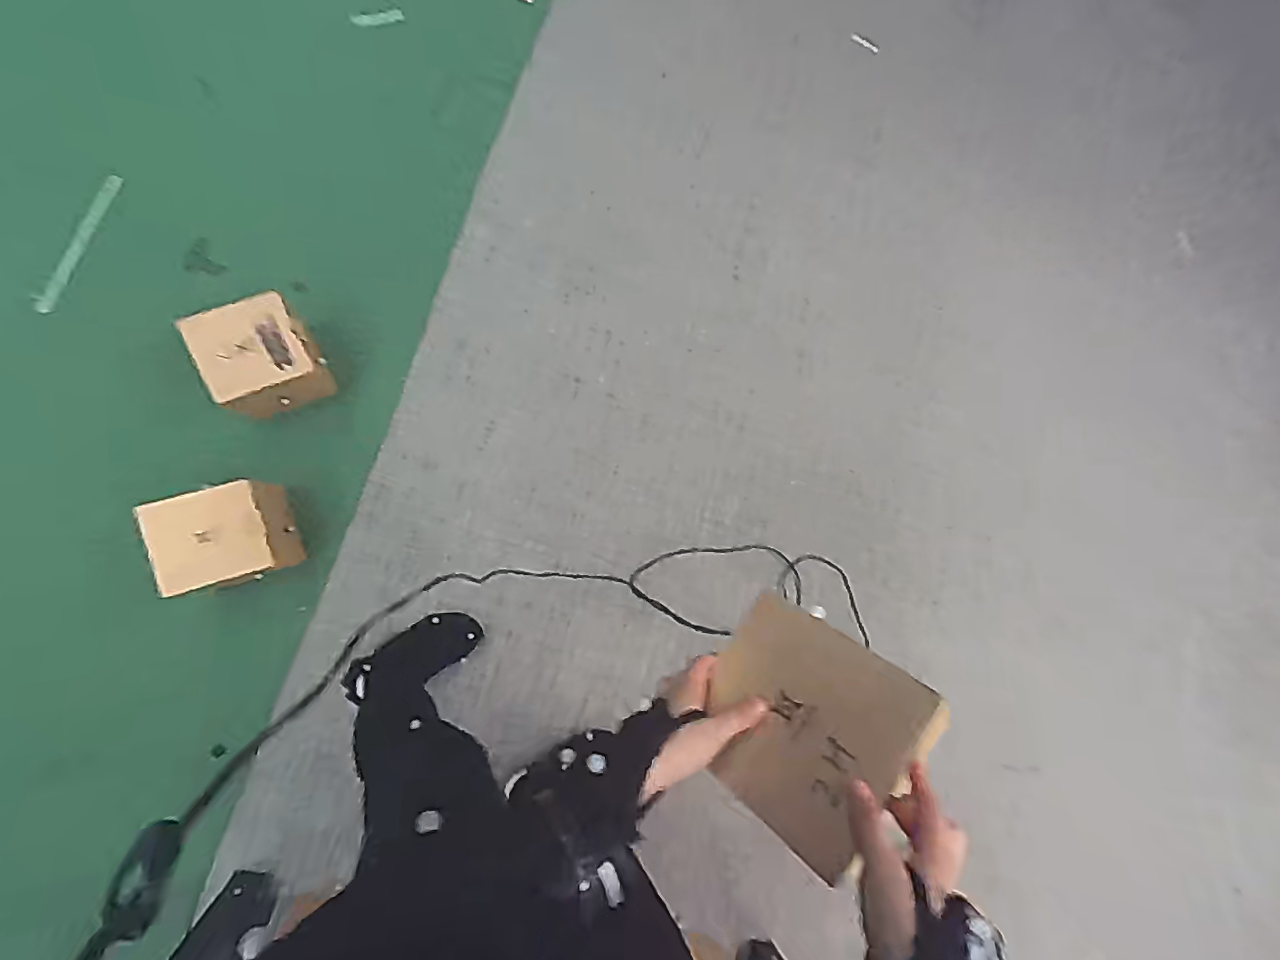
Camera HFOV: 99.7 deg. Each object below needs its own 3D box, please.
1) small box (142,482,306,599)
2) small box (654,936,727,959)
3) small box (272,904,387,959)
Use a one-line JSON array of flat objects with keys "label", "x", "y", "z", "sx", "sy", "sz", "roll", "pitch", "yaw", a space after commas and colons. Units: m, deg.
[{"label": "small box", "x": -0.772, "y": 0.115, "z": 1.024, "sx": 0.179, "sy": 0.176, "sz": 0.168, "roll": -18, "pitch": 88, "yaw": -17}, {"label": "small box", "x": 0.118, "y": 1.122, "z": 1.142, "sx": 0.179, "sy": 0.176, "sz": 0.168, "roll": 31, "pitch": 76, "yaw": -11}, {"label": "small box", "x": -0.584, "y": 0.913, "z": 0.973, "sx": 0.179, "sy": 0.176, "sz": 0.168, "roll": 24, "pitch": 77, "yaw": -11}]
